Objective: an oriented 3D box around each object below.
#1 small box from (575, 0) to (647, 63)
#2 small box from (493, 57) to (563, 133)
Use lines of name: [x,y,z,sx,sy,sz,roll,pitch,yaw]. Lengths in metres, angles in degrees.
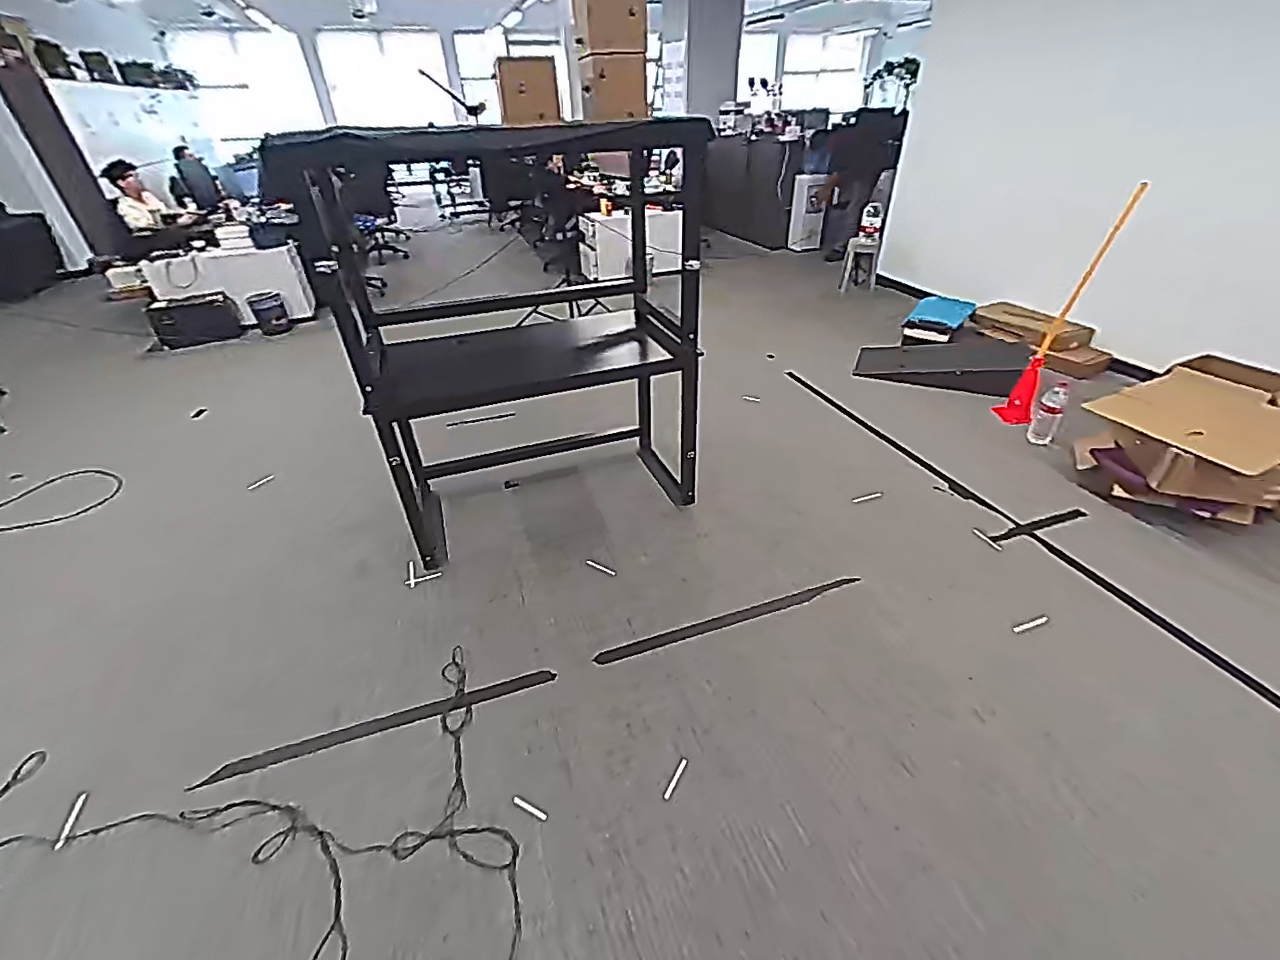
small box: [-0.083,-1.306,1.544,0.179,0.176,0.168,-14,34,-14]
small box: [-0.328,-1.126,1.587,0.168,0.176,0.179,-11,34,-13]
